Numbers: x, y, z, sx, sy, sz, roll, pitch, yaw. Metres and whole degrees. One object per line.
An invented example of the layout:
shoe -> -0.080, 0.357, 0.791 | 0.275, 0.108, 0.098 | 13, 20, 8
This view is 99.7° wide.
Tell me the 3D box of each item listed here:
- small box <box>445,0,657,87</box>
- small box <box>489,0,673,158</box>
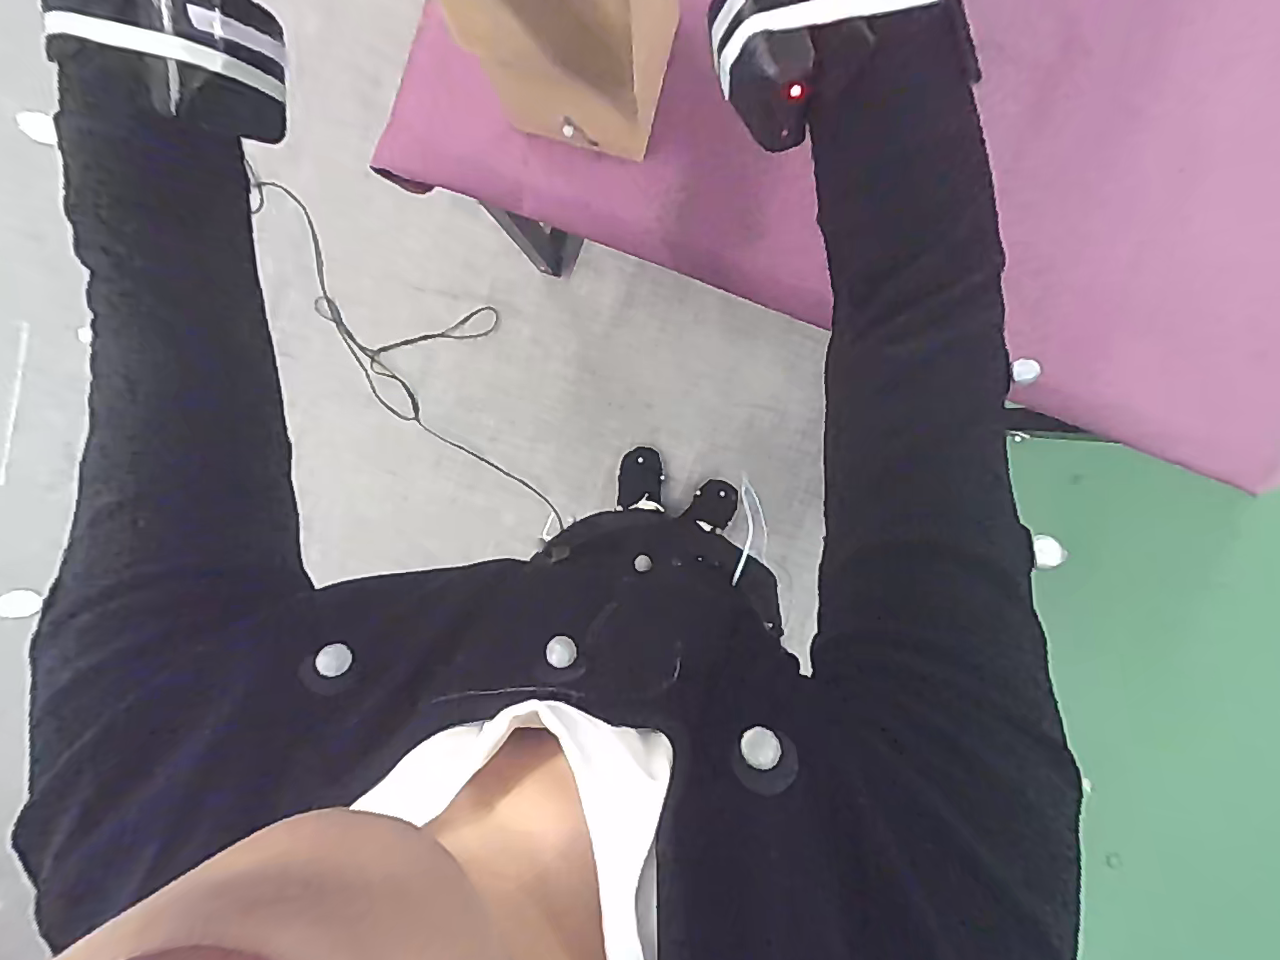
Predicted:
small box -> -0.065, -0.459, 0.430 | 0.179, 0.176, 0.168 | 16, 97, -1
small box -> -0.061, -0.496, 0.589 | 0.168, 0.176, 0.179 | 16, 97, -1
